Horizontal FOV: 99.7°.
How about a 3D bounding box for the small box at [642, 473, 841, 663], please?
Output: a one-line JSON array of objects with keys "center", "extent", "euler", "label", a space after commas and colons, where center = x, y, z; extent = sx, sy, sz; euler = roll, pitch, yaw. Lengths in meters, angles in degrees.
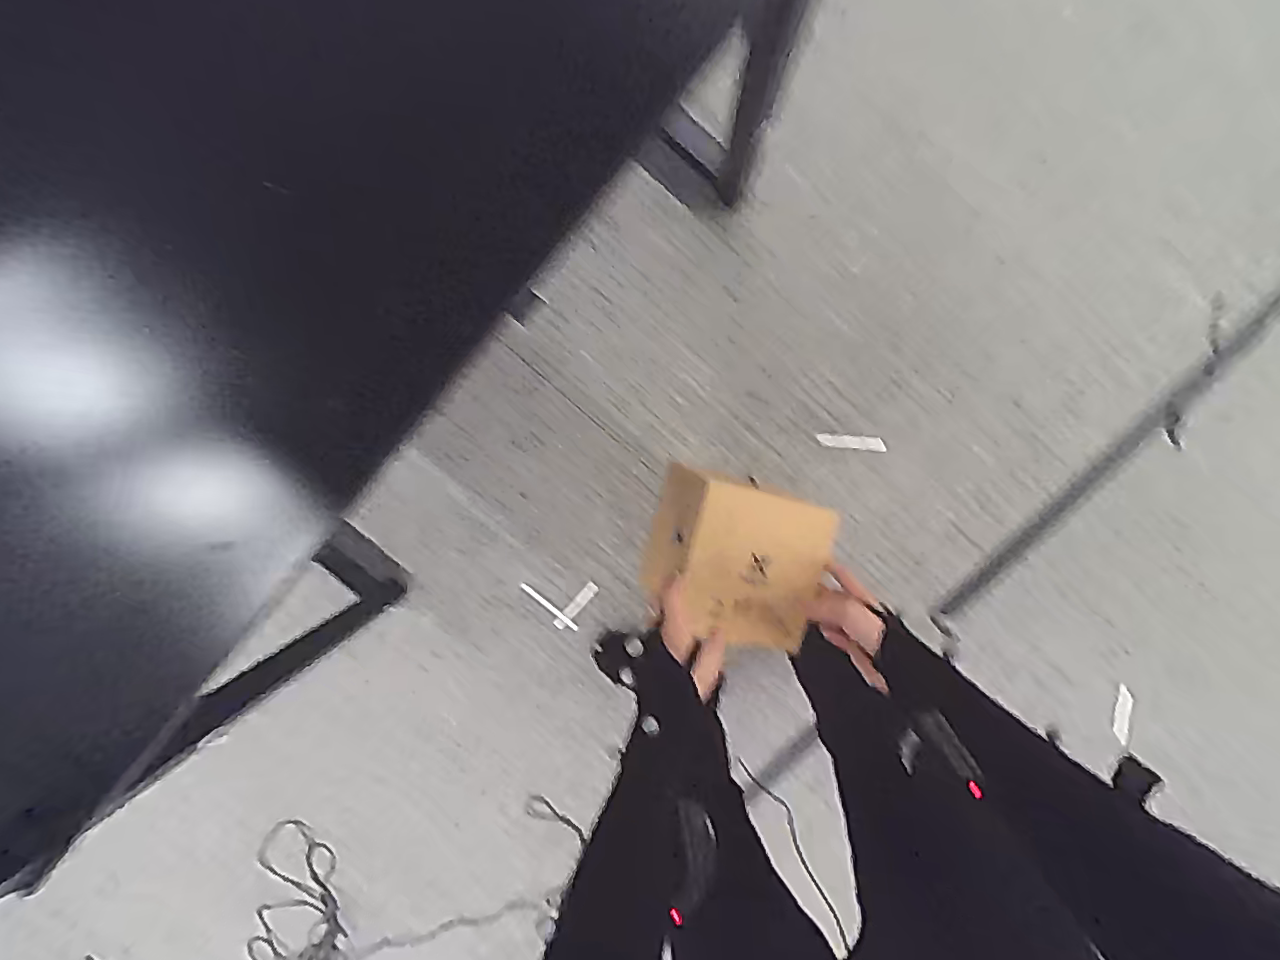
[{"center": [0.112, 0.097, 0.672], "extent": [0.168, 0.176, 0.179], "euler": [14, 96, -14], "label": "small box"}]
